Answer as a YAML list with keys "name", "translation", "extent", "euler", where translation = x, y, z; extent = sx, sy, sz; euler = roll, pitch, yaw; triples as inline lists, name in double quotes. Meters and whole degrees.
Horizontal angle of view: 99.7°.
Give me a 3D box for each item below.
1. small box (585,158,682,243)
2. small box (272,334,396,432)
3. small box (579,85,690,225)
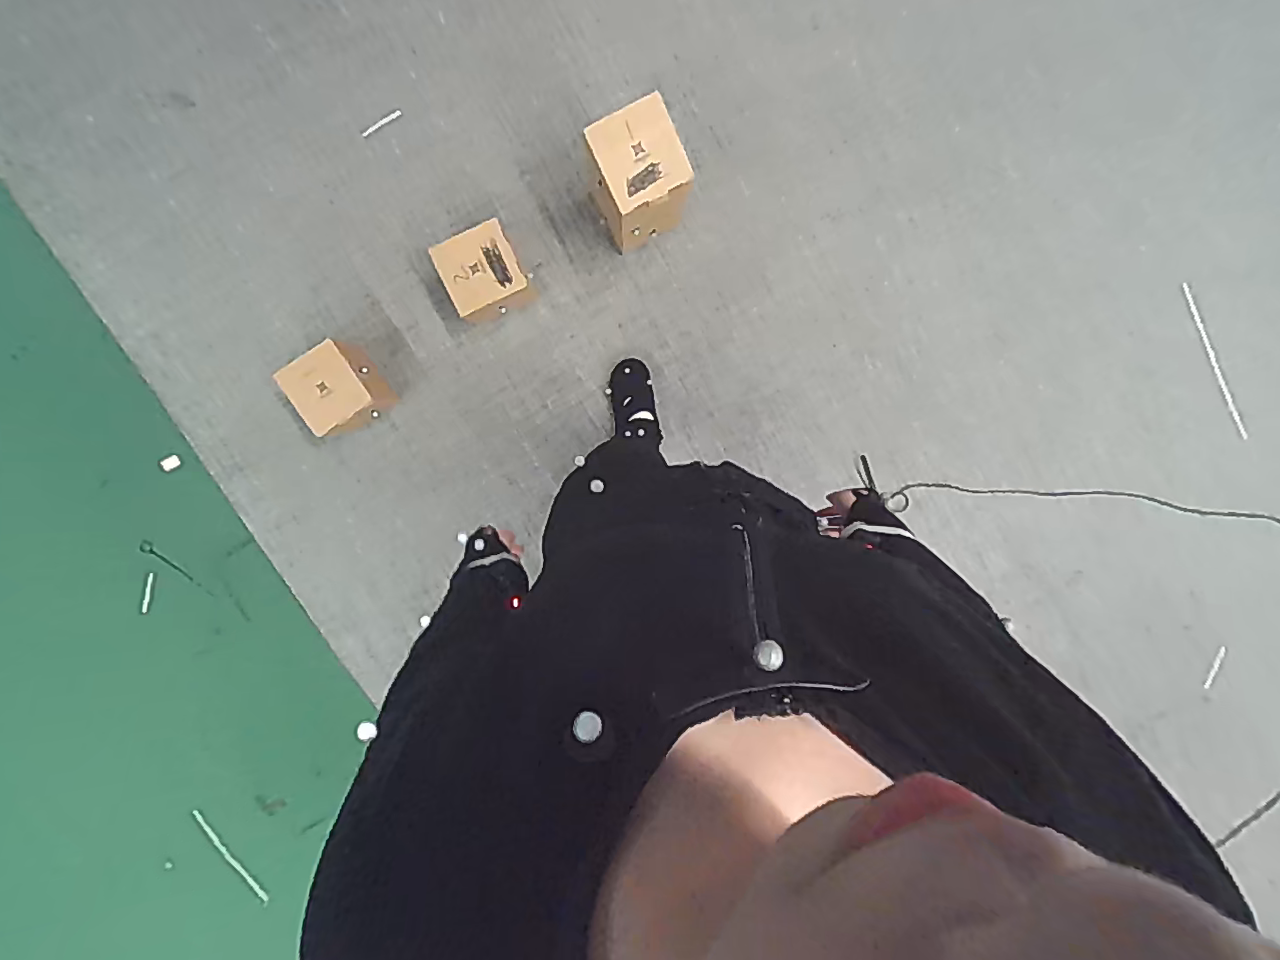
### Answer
- name: "small box"
  translation: [-0.016, -0.688, 1.287]
  extent: [0.168, 0.176, 0.179]
  euler: [-27, 100, 2]
- name: "small box"
  translation: [-0.744, -0.240, 1.340]
  extent: [0.168, 0.176, 0.179]
  euler: [-31, 98, 3]
- name: "small box"
  translation: [-0.010, -0.657, 1.125]
  extent: [0.168, 0.176, 0.179]
  euler: [-26, 98, 2]
